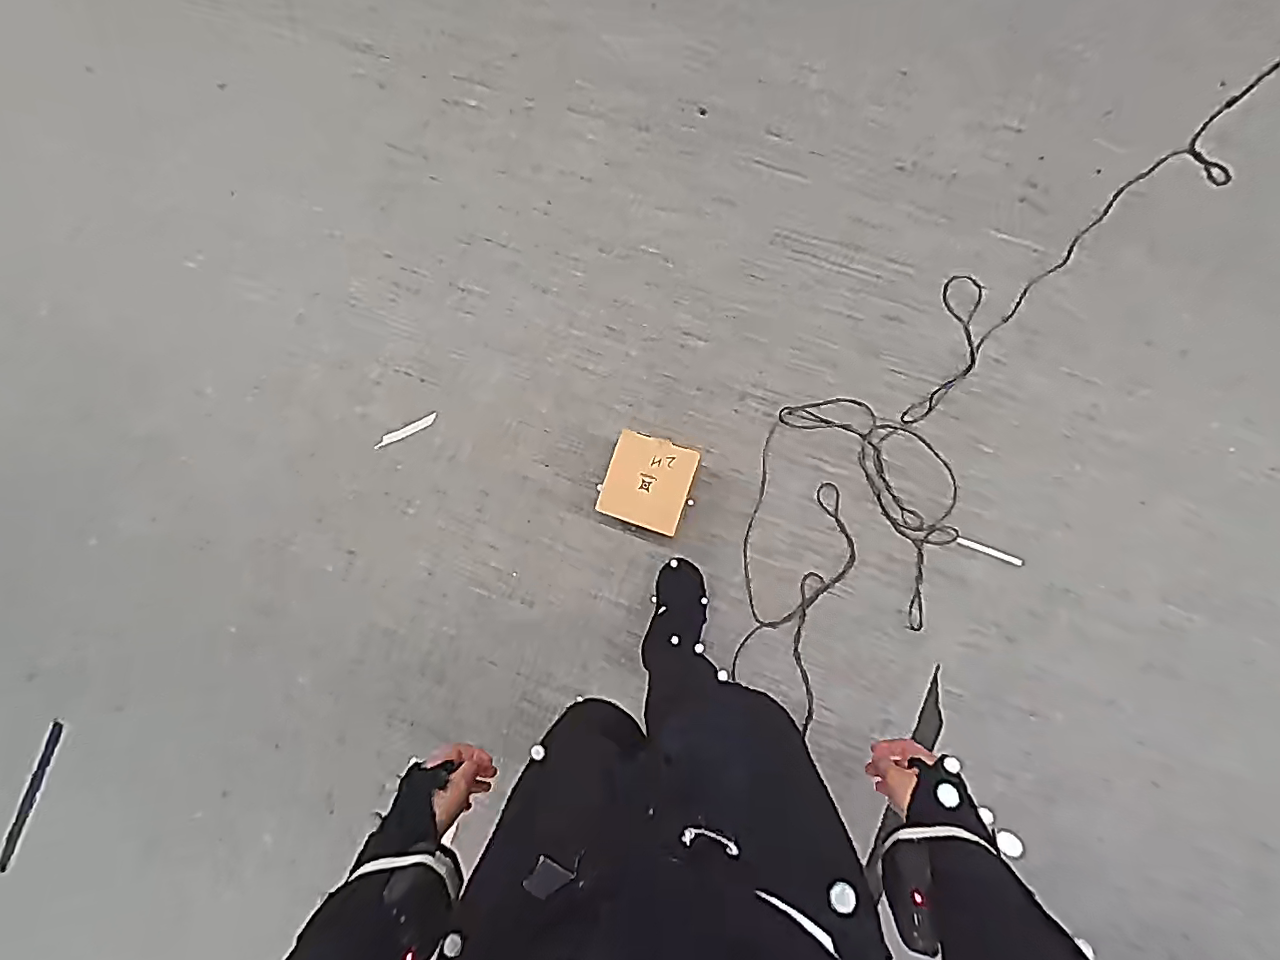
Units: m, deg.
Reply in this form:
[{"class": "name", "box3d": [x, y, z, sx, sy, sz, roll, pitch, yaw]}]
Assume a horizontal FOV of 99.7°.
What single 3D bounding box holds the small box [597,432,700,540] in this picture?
[{"class": "small box", "box3d": [0.025, 0.018, 1.139, 0.168, 0.176, 0.179, 18, 87, 7]}]
